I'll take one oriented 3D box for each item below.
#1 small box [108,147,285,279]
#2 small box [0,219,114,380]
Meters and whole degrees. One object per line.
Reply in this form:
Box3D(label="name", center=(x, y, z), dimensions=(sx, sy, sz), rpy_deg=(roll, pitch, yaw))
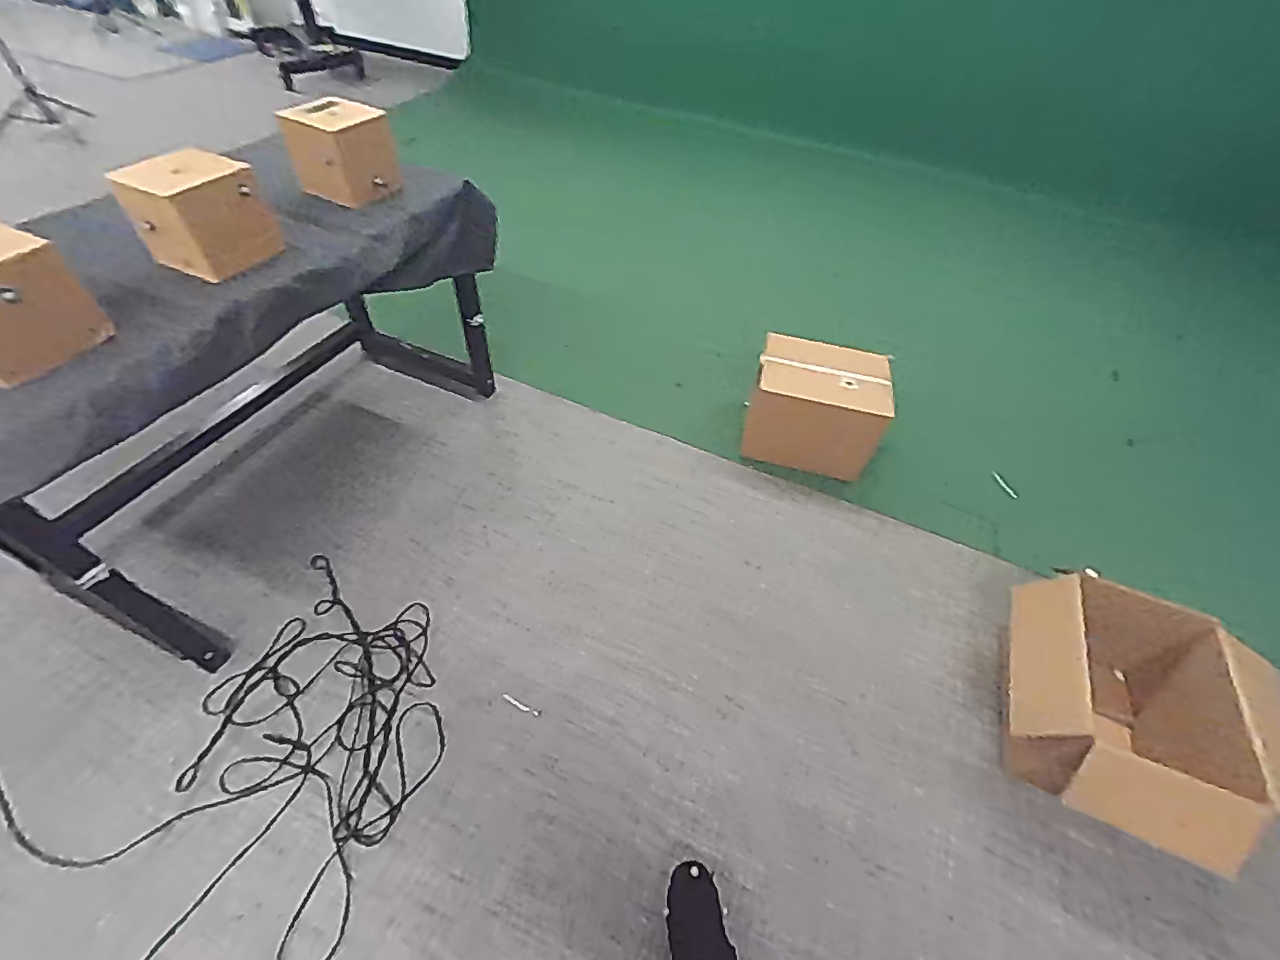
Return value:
Box3D(label="small box", center=(-0.851, -0.521, 1.060), dimensions=(0.168, 0.176, 0.179), rpy_deg=(22, 50, 13))
Box3D(label="small box", center=(-1.000, -0.282, 0.839), dimensions=(0.168, 0.176, 0.179), rpy_deg=(21, 50, 11))
